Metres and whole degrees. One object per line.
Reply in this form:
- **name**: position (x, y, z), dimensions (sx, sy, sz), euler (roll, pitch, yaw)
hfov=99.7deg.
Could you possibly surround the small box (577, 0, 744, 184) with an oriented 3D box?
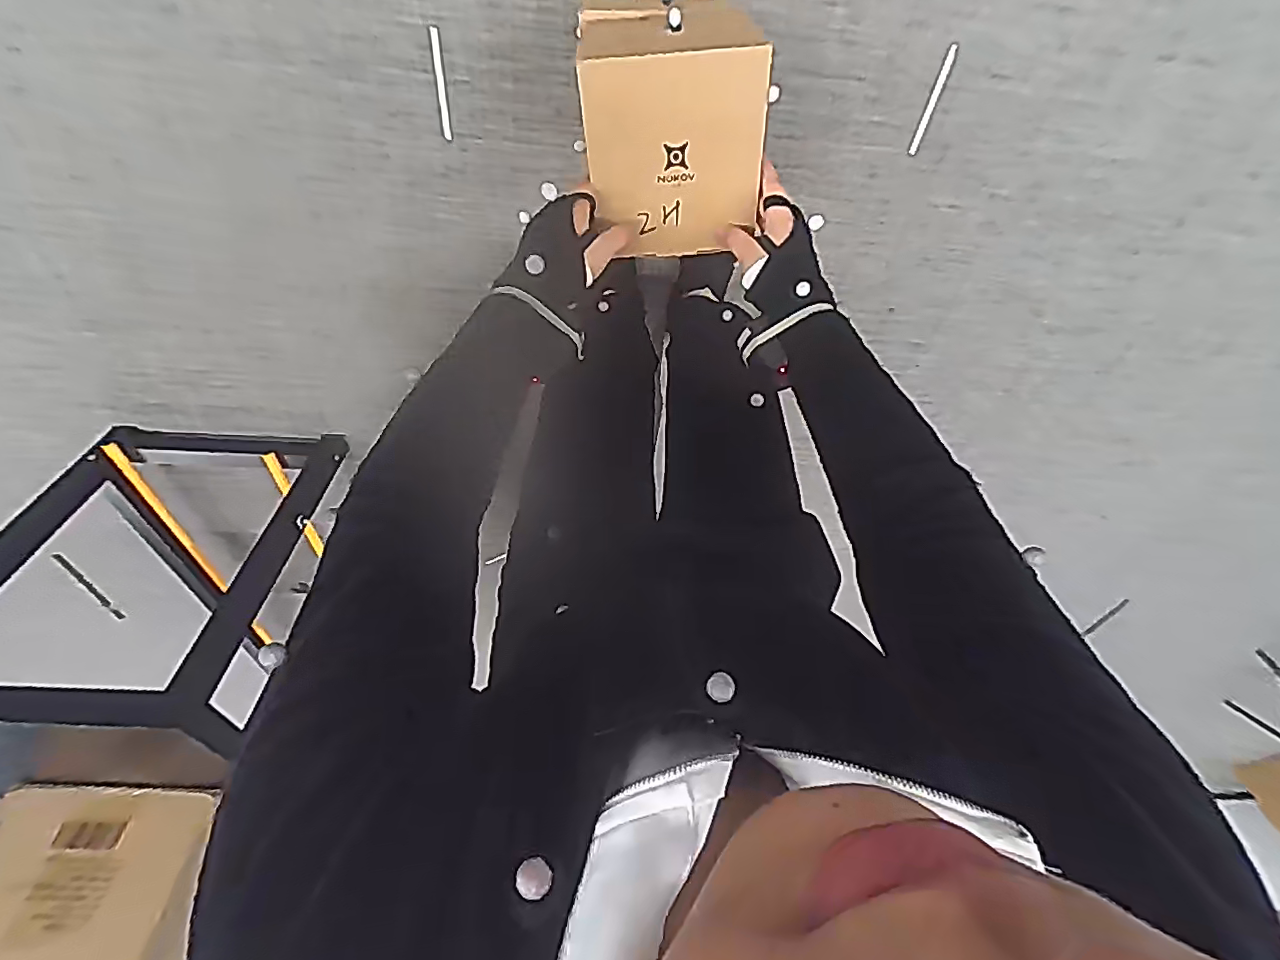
- **small box**: position (0.021, -0.479, 0.672), dimensions (0.179, 0.176, 0.168), euler (0, 136, 0)

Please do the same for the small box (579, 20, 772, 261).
- **small box**: position (0.031, -0.353, 0.561), dimensions (0.168, 0.176, 0.179), euler (-2, 138, 3)
